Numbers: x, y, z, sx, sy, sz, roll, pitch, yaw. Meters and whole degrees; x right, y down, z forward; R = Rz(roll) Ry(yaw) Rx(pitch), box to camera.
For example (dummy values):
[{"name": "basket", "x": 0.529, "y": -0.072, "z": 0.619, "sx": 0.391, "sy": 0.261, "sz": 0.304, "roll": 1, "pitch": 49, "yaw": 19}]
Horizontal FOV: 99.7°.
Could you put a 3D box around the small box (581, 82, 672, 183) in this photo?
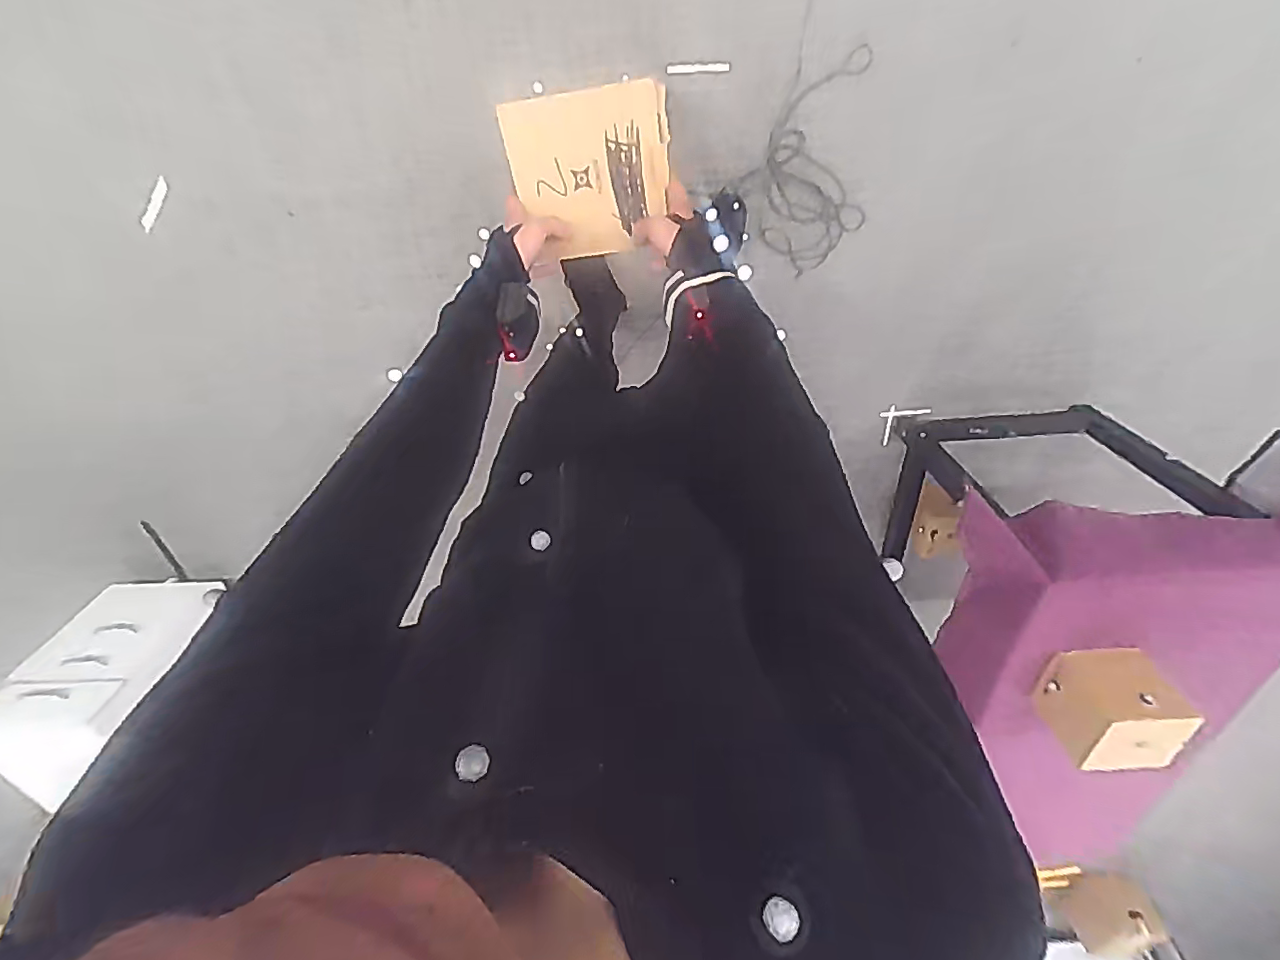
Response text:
[{"name": "small box", "x": -0.023, "y": -0.743, "z": 1.162, "sx": 0.179, "sy": 0.176, "sz": 0.168, "roll": -4, "pitch": 124, "yaw": 2}]

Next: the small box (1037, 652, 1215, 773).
[{"name": "small box", "x": 0.969, "y": 0.467, "z": 1.098, "sx": 0.179, "sy": 0.176, "sz": 0.168, "roll": -2, "pitch": 123, "yaw": 2}]
